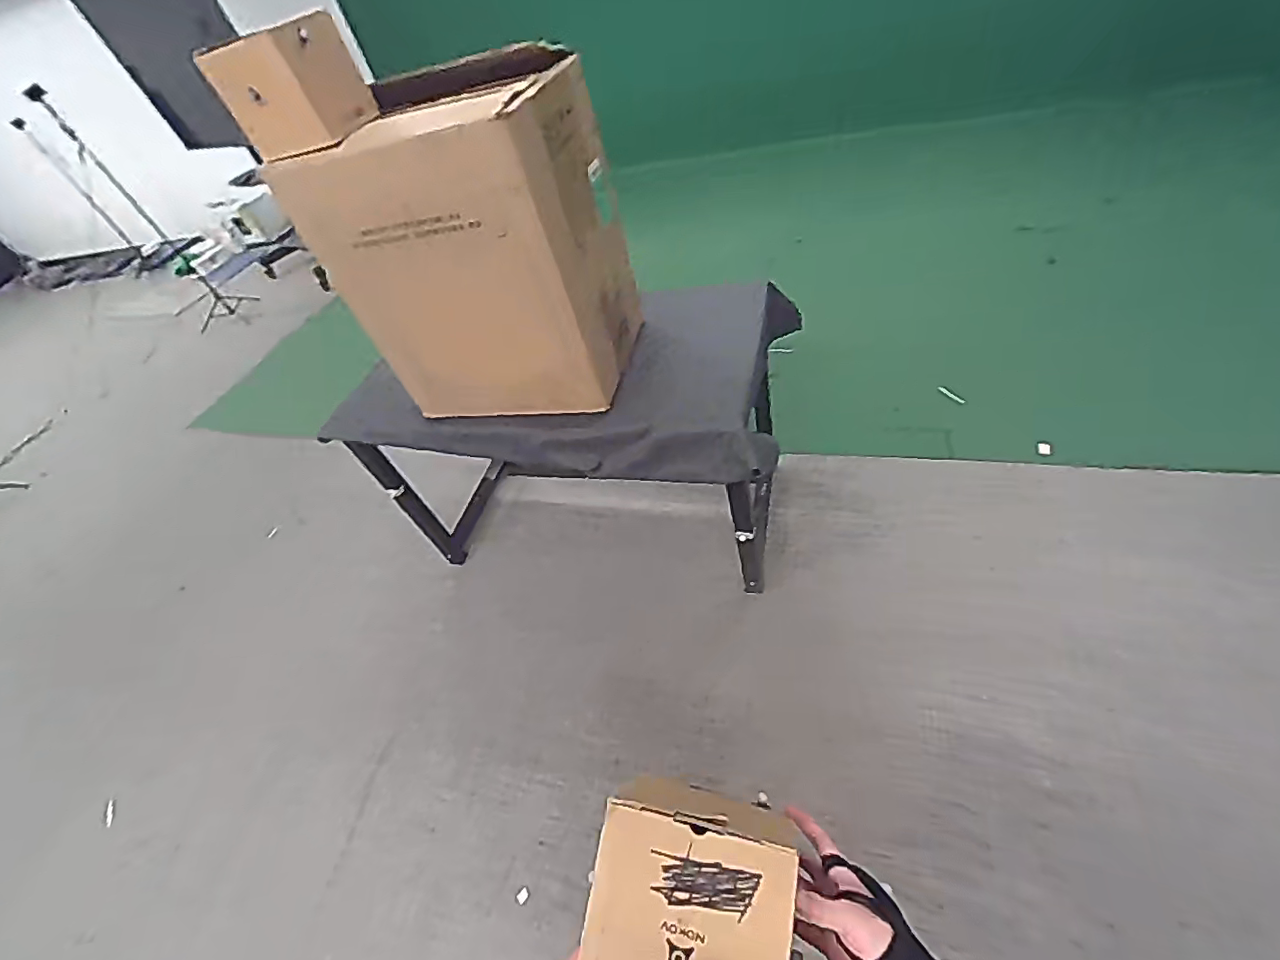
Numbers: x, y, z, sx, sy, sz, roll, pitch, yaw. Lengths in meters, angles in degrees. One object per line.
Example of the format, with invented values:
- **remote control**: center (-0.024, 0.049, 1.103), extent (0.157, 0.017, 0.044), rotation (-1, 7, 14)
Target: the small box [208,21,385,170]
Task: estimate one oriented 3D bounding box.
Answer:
- **small box**: center (-0.620, -0.700, 0.997), extent (0.179, 0.176, 0.168), rotation (-1, 50, 21)
